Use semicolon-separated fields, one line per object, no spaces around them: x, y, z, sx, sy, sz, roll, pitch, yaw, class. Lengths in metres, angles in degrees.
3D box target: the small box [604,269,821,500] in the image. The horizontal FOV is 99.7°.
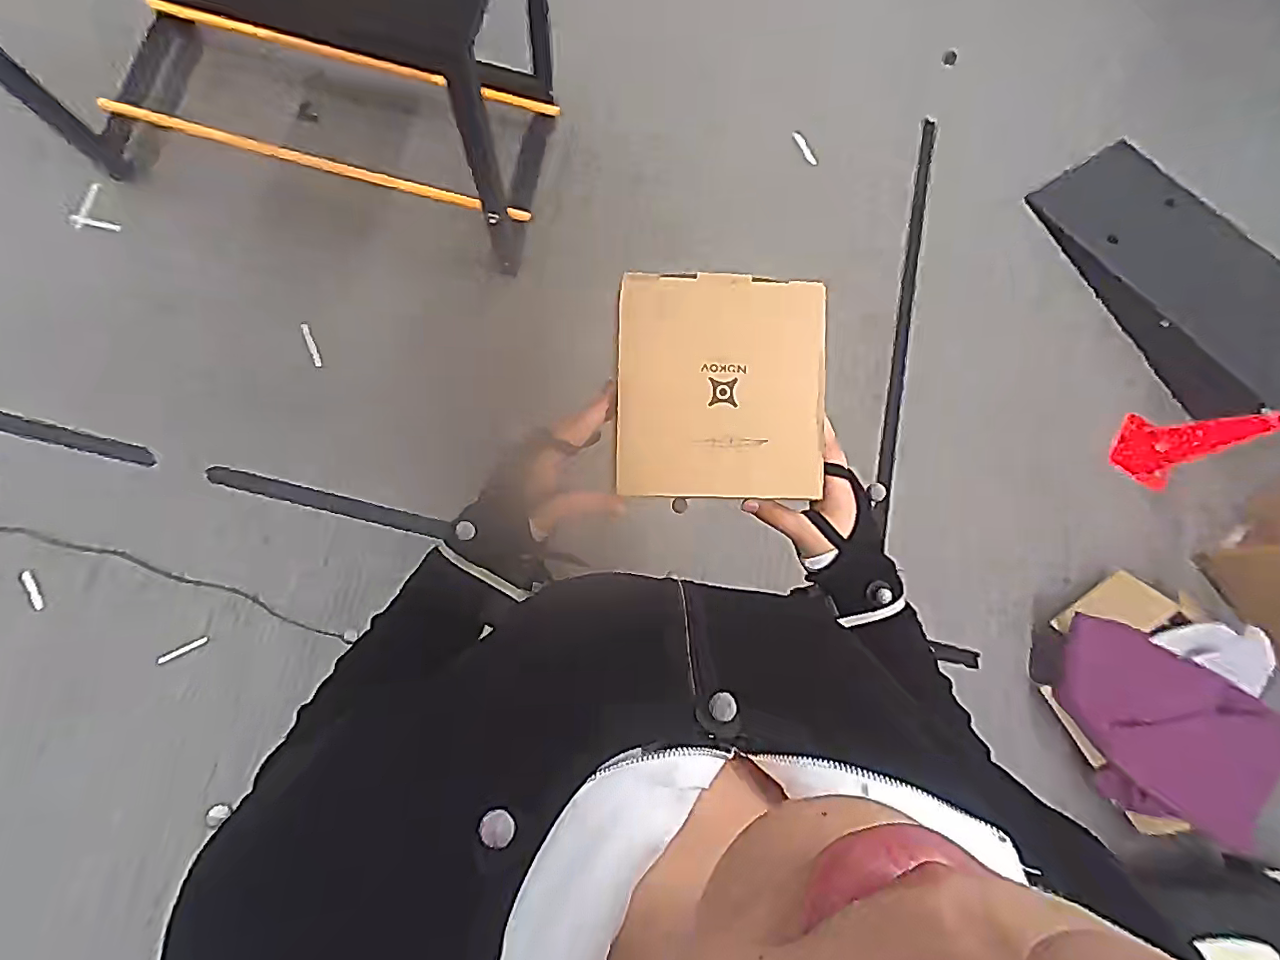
0.052;-0.071;0.497;0.168;0.176;0.179;1;90;-5;small box
